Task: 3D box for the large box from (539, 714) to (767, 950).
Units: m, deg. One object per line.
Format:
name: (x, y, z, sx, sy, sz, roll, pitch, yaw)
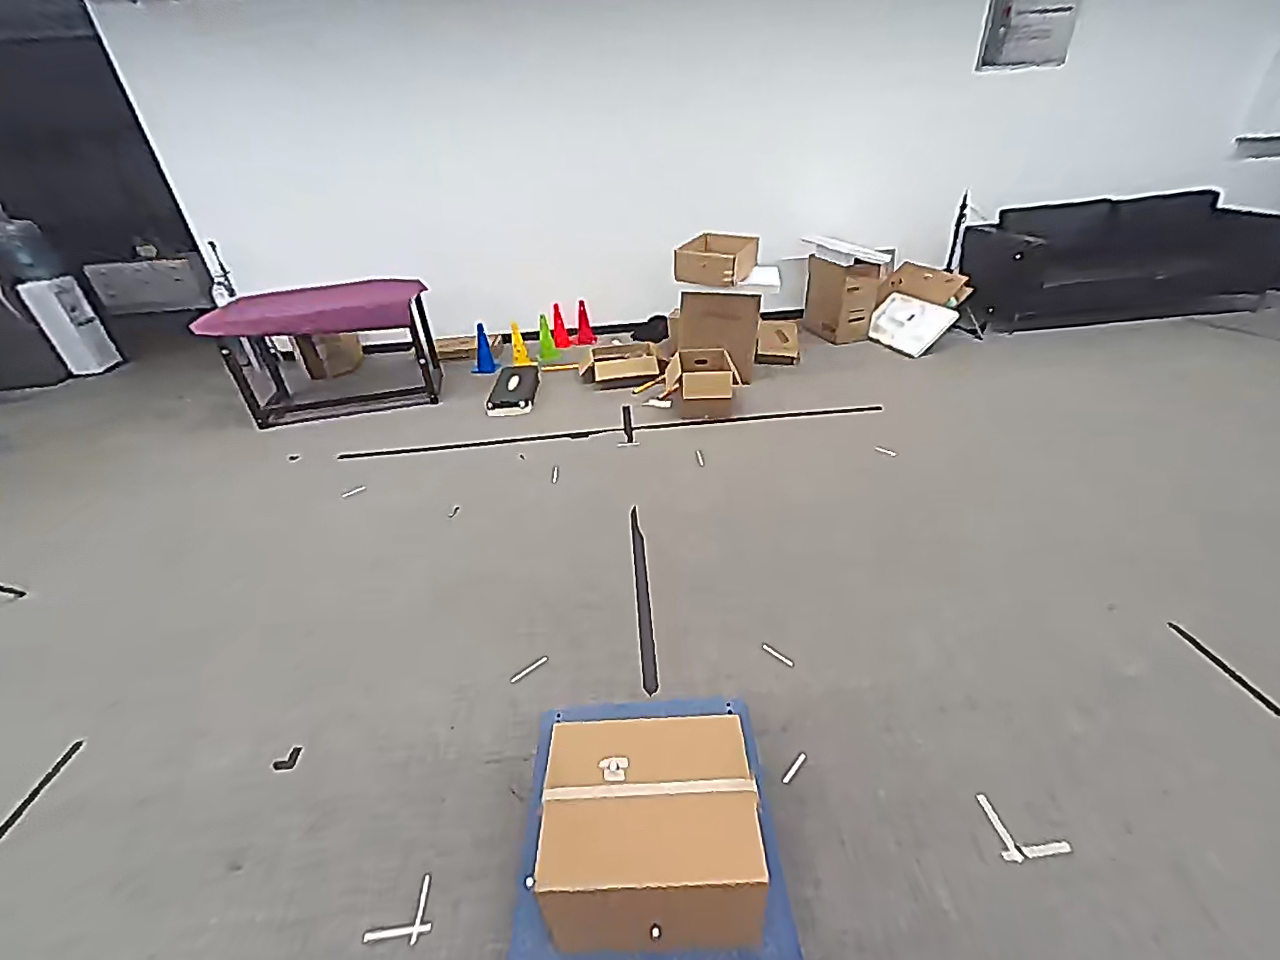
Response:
large box: (0.030, 0.737, 1.140, 0.408, 0.320, 0.320, -5, 32, 1)
